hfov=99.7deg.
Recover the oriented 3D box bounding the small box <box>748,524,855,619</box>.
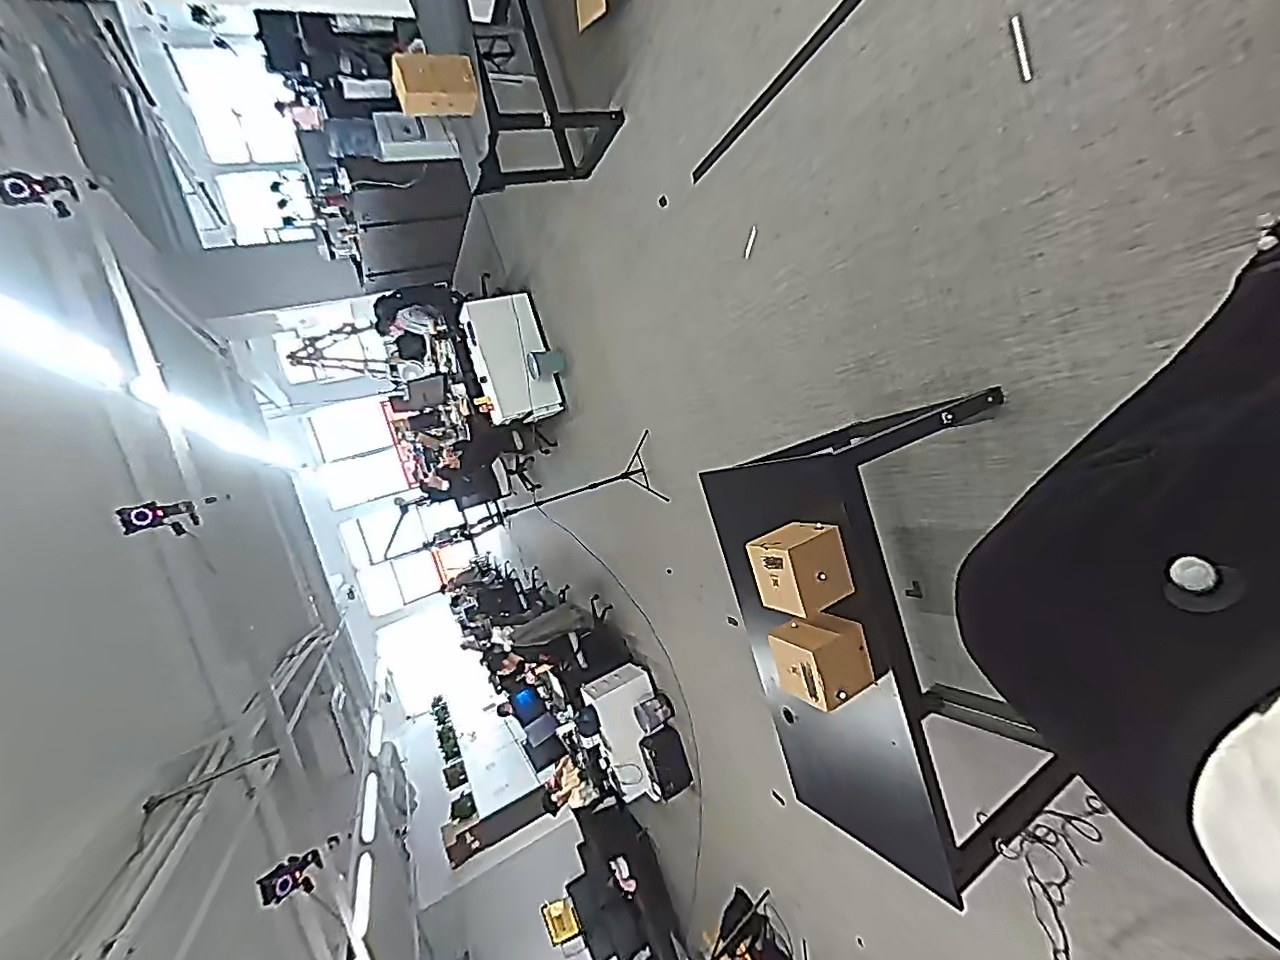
[{"bbox_3d":[0.406,0.220,1.358,0.168,0.176,0.179,-3,106,66],"label":"small box"}]
